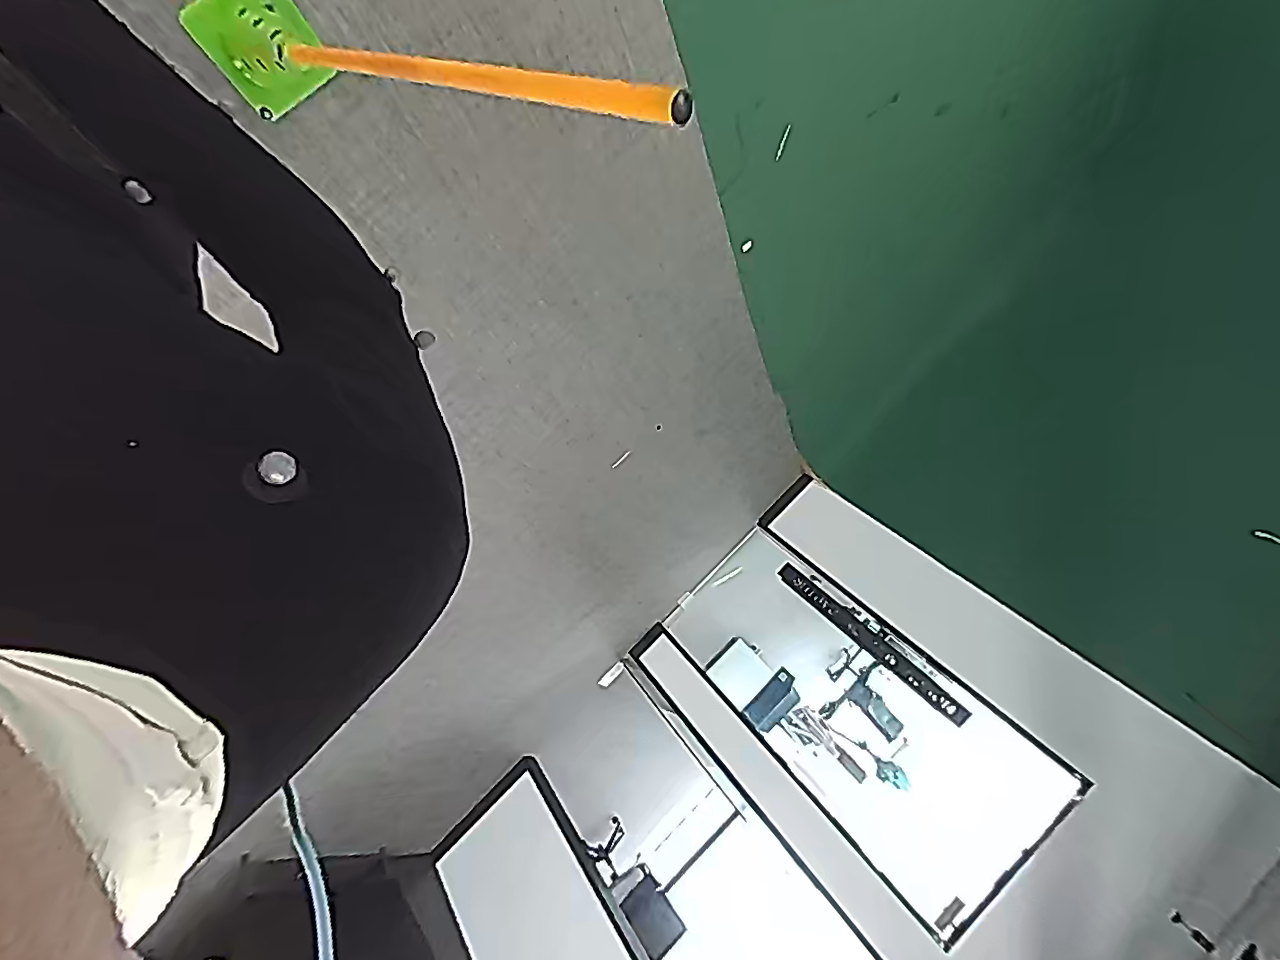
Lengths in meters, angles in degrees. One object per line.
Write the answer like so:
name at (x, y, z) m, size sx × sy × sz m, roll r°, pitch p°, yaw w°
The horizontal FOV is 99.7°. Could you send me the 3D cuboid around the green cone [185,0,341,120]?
green cone at (-0.641, -0.783, 0.974) m, size 0.200 × 0.368 × 0.202 m, roll -44°, pitch 141°, yaw -6°
